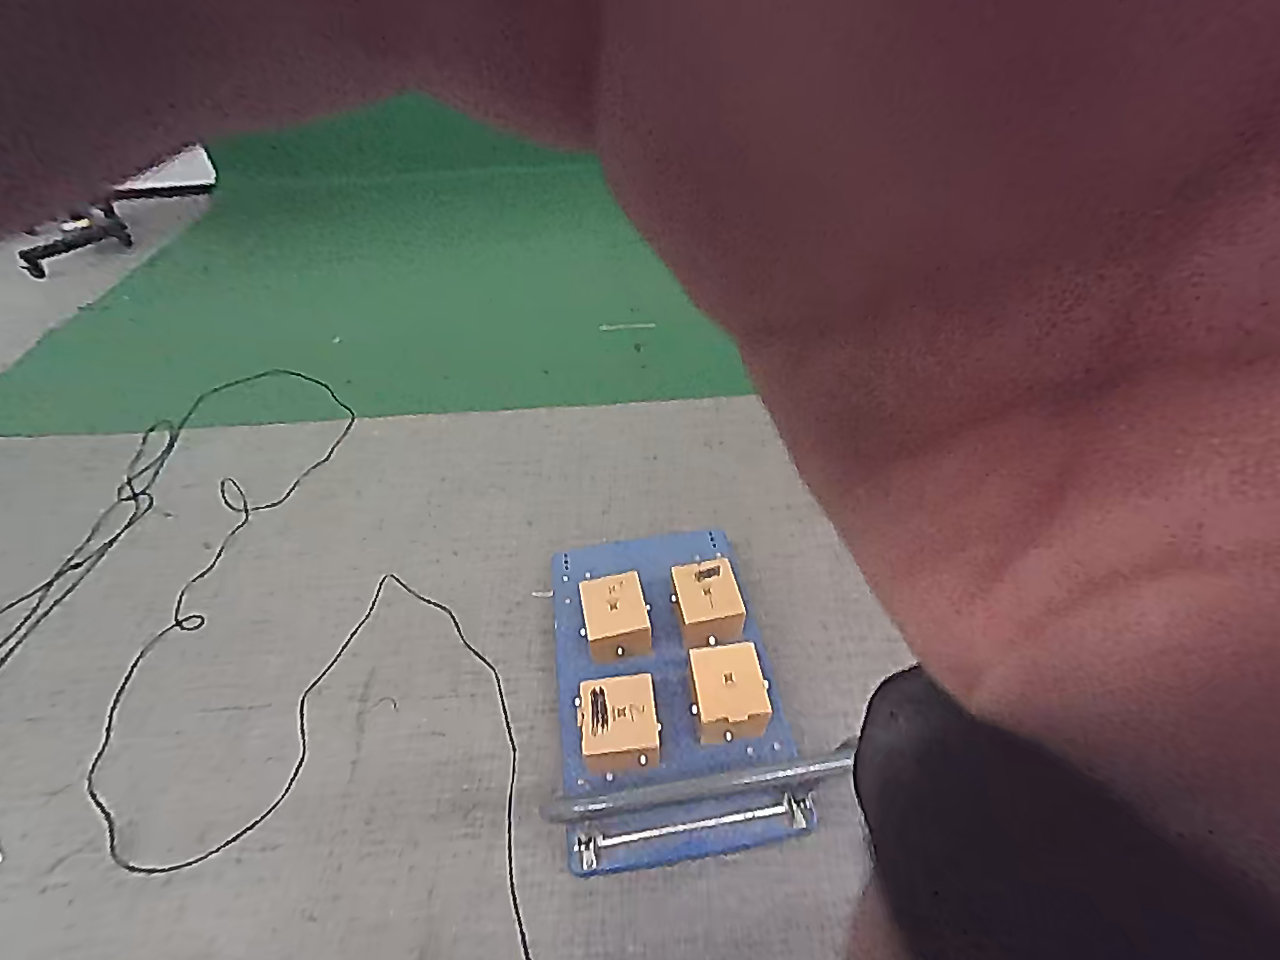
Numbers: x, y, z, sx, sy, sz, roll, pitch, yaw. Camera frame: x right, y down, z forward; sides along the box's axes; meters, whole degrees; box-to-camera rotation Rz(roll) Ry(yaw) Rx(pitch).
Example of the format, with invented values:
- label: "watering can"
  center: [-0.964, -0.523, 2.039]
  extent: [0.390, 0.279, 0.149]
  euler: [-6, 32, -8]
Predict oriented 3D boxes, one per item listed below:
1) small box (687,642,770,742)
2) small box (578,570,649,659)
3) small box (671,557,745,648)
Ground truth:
- label: "small box"
  center: [0.212, 0.530, 1.351]
  extent: [0.168, 0.176, 0.179]
  euler: [-6, 48, -3]
- label: "small box"
  center: [-0.071, 0.378, 1.494]
  extent: [0.168, 0.176, 0.179]
  euler: [-10, 49, -7]
- label: "small box"
  center: [0.182, 0.344, 1.513]
  extent: [0.168, 0.176, 0.179]
  euler: [-9, 49, -5]
